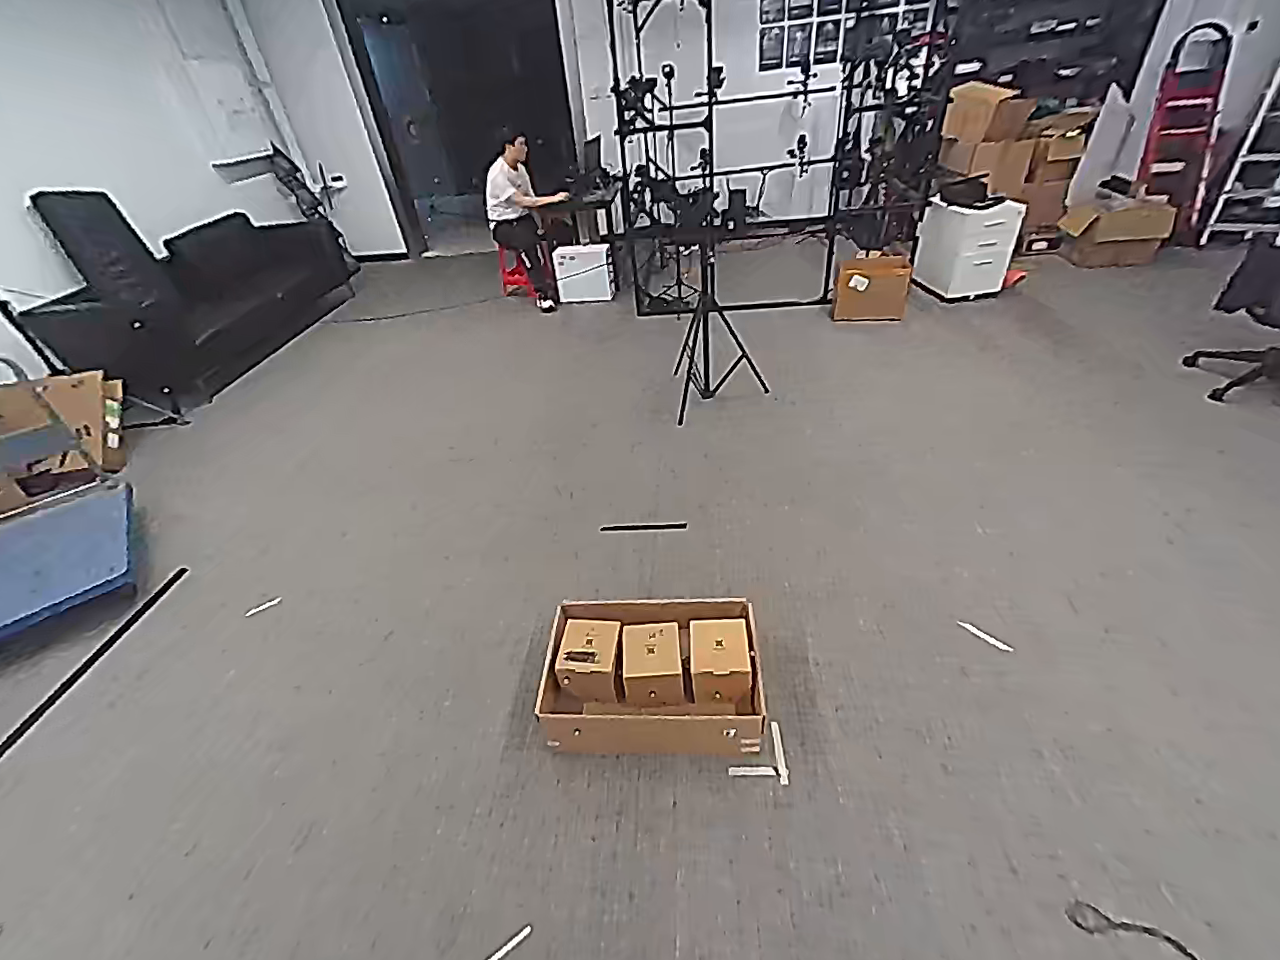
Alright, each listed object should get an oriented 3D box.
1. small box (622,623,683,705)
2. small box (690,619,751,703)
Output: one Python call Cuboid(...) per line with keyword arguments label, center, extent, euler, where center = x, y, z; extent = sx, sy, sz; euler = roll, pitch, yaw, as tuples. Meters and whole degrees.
Cuboid(label="small box", center=(0.038, 0.551, 1.602), extent=(0.168, 0.176, 0.179), euler=(-4, 37, 2))
Cuboid(label="small box", center=(0.234, 0.534, 1.593), extent=(0.168, 0.176, 0.179), euler=(-4, 38, 7))
